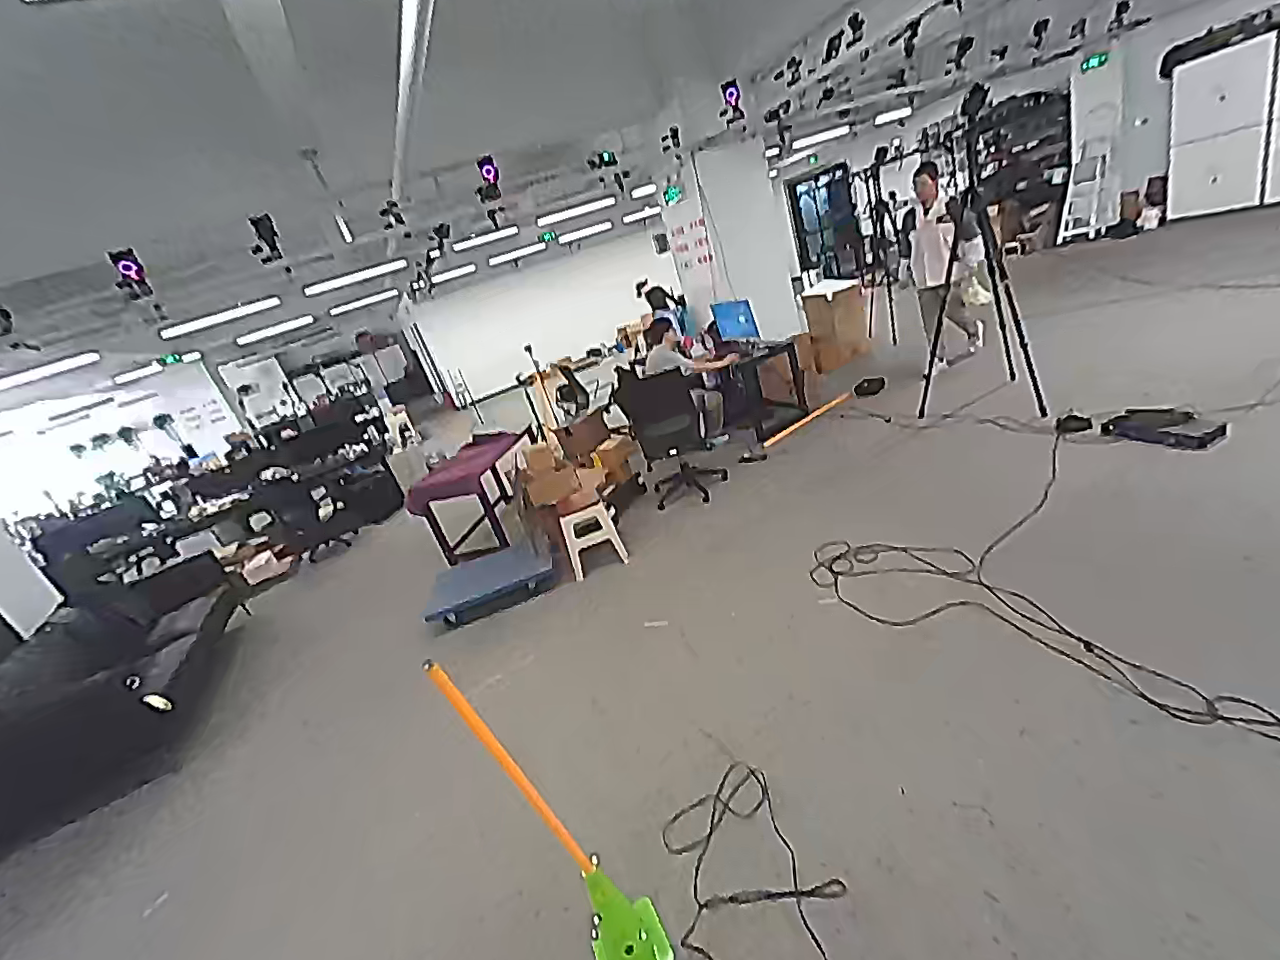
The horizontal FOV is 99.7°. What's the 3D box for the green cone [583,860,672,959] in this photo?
[{"bbox_3d":[-0.081,1.167,1.457,0.202,0.368,0.200,-24,21,-17],"label":"green cone"}]
